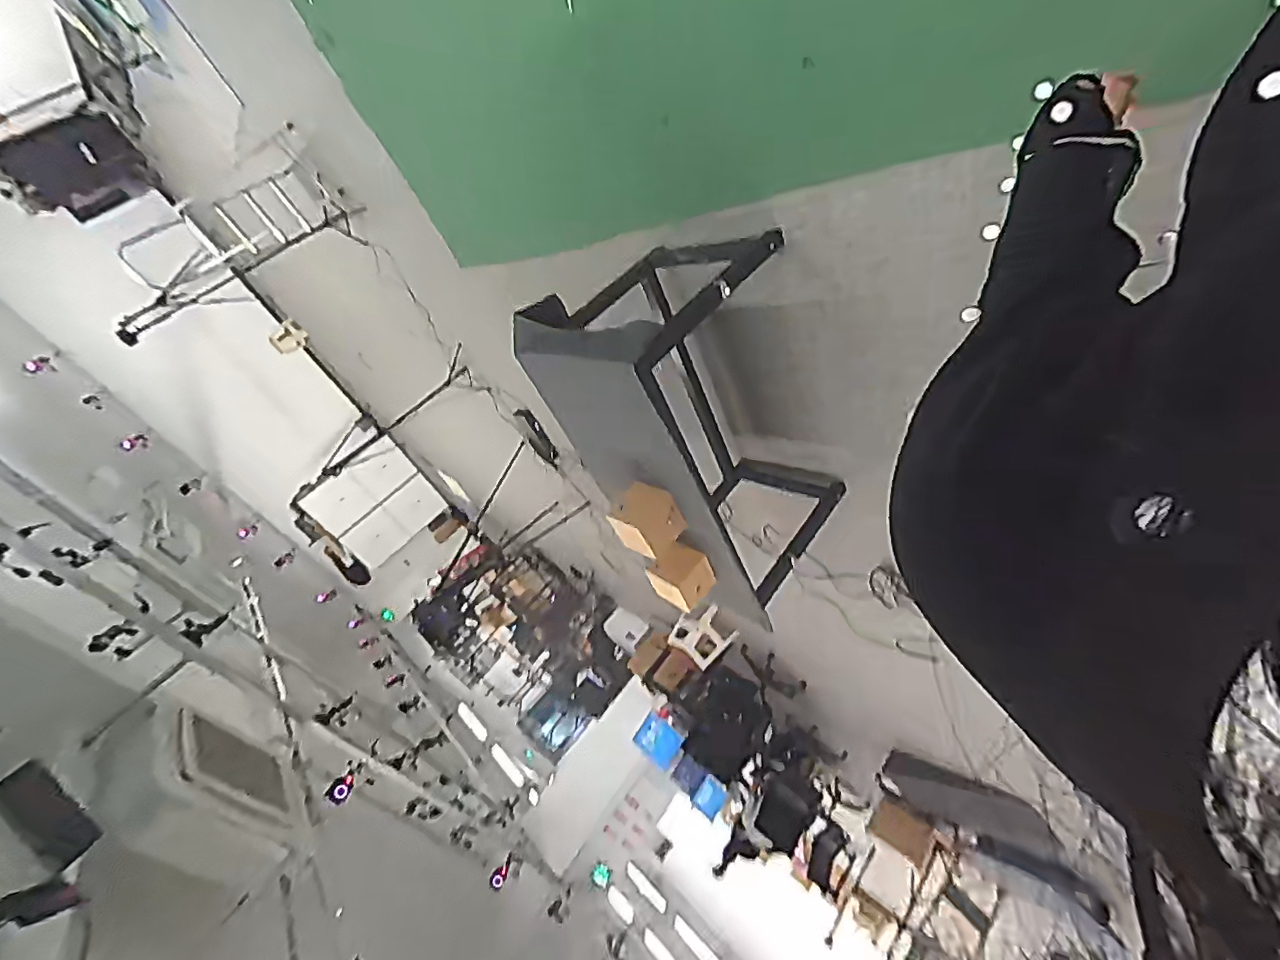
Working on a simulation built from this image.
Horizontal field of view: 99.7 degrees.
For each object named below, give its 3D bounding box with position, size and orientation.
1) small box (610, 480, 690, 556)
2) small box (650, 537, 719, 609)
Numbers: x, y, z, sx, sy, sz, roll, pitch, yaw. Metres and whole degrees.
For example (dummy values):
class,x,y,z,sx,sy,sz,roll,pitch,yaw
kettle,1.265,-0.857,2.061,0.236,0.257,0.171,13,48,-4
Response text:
class,x,y,z,sx,sy,sz,roll,pitch,yaw
small box,0.038,0.122,1.835,0.179,0.176,0.168,18,148,47
small box,0.172,0.337,2.000,0.179,0.176,0.168,23,151,43
